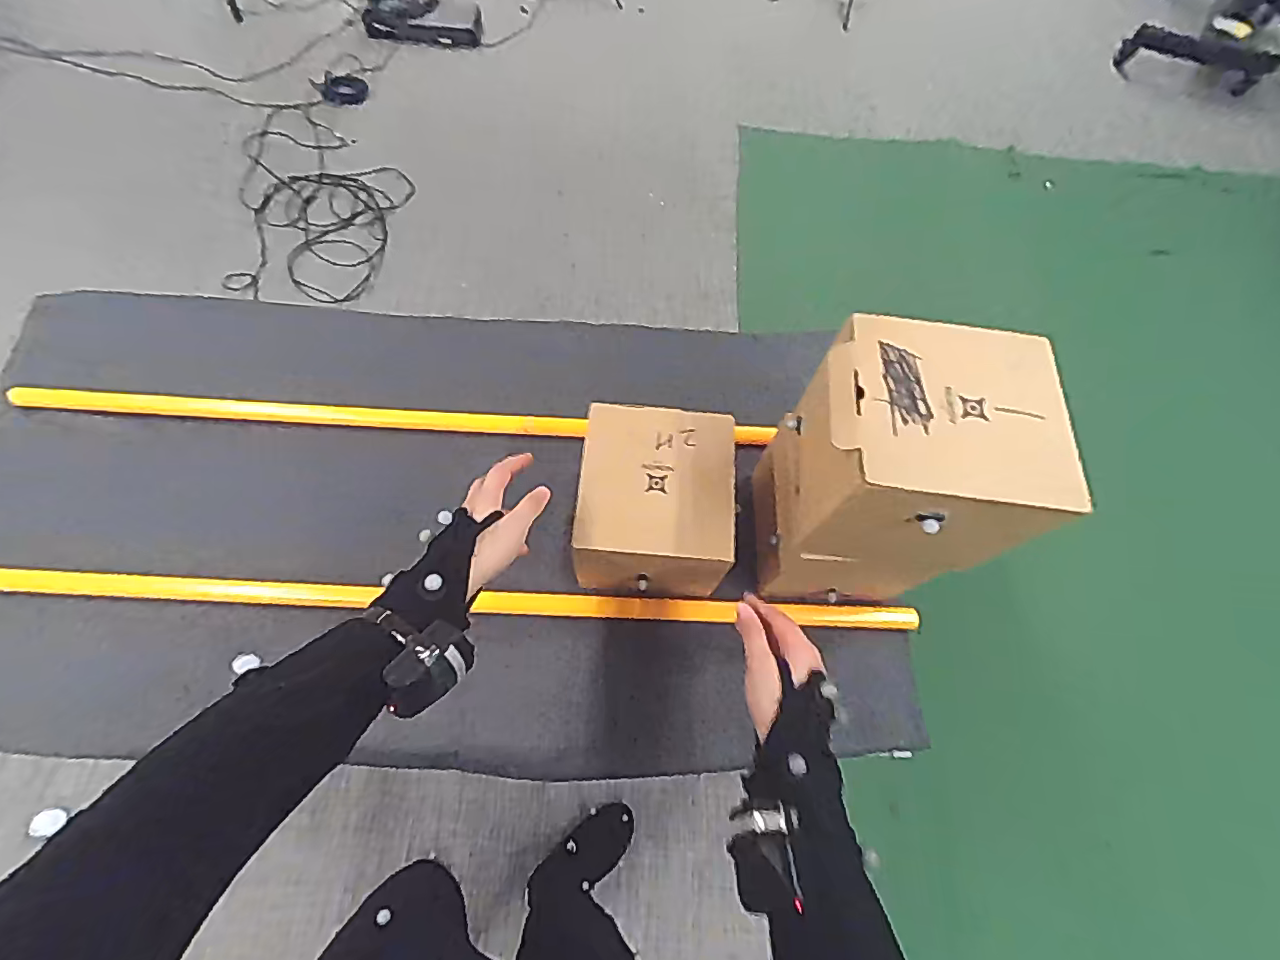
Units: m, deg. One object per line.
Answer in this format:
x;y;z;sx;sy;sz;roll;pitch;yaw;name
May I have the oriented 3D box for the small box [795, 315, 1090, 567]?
0.252;-0.025;0.504;0.179;0.176;0.168;7;65;-1;small box
